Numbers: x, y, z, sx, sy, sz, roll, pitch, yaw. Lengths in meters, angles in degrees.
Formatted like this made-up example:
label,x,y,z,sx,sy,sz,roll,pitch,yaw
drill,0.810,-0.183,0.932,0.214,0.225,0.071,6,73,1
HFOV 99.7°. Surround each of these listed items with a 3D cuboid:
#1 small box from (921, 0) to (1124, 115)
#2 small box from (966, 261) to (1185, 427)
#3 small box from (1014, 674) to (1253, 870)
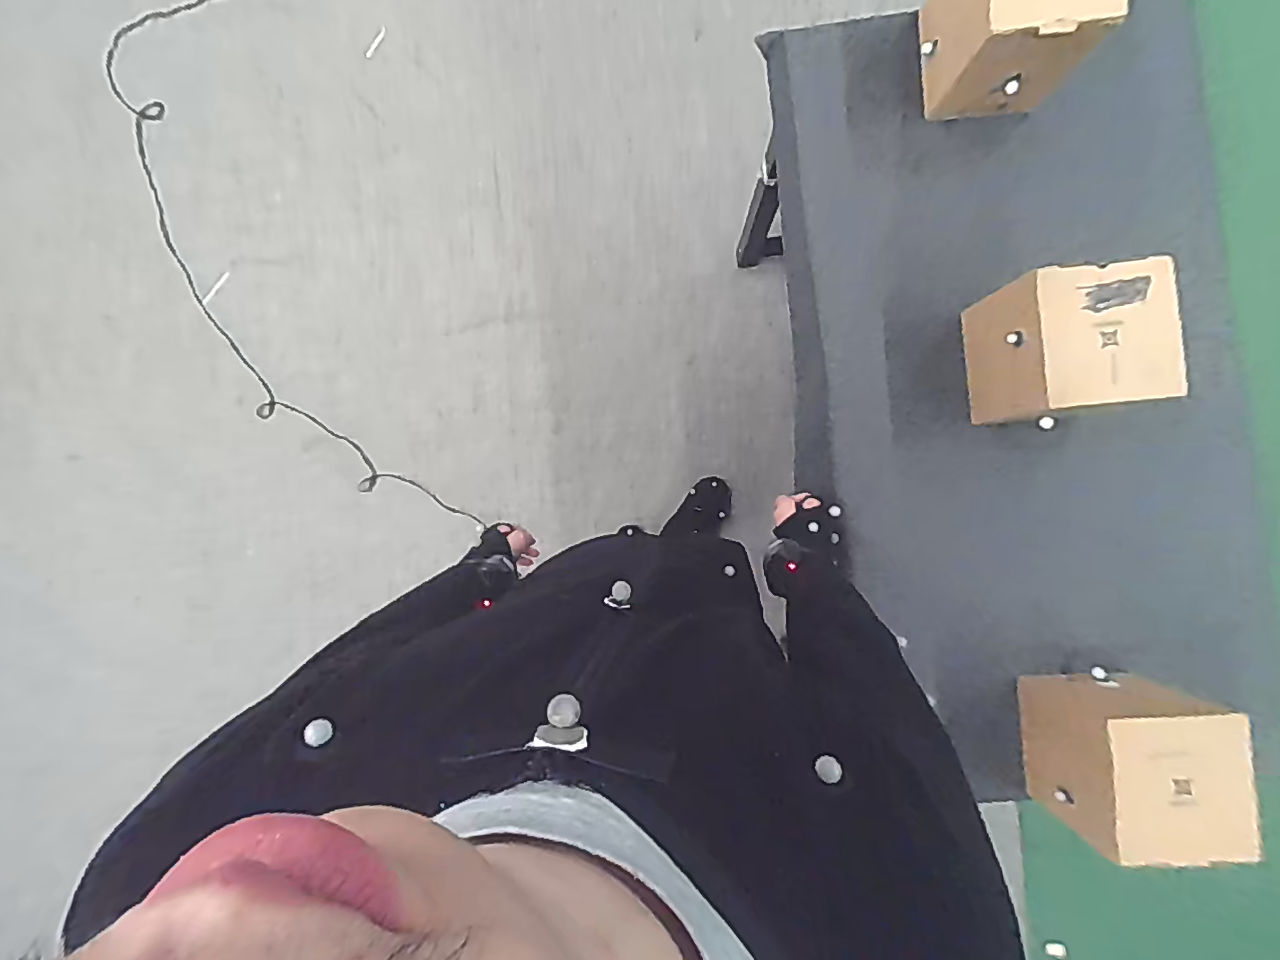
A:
label,x,y,z,sx,sy,sz,roll,pitch,yaw
small box,0.510,-0.637,0.744,0.168,0.176,0.179,-3,90,2
small box,0.570,-0.173,0.733,0.168,0.176,0.179,-5,90,3
small box,0.636,0.374,0.720,0.168,0.176,0.179,-3,87,2
